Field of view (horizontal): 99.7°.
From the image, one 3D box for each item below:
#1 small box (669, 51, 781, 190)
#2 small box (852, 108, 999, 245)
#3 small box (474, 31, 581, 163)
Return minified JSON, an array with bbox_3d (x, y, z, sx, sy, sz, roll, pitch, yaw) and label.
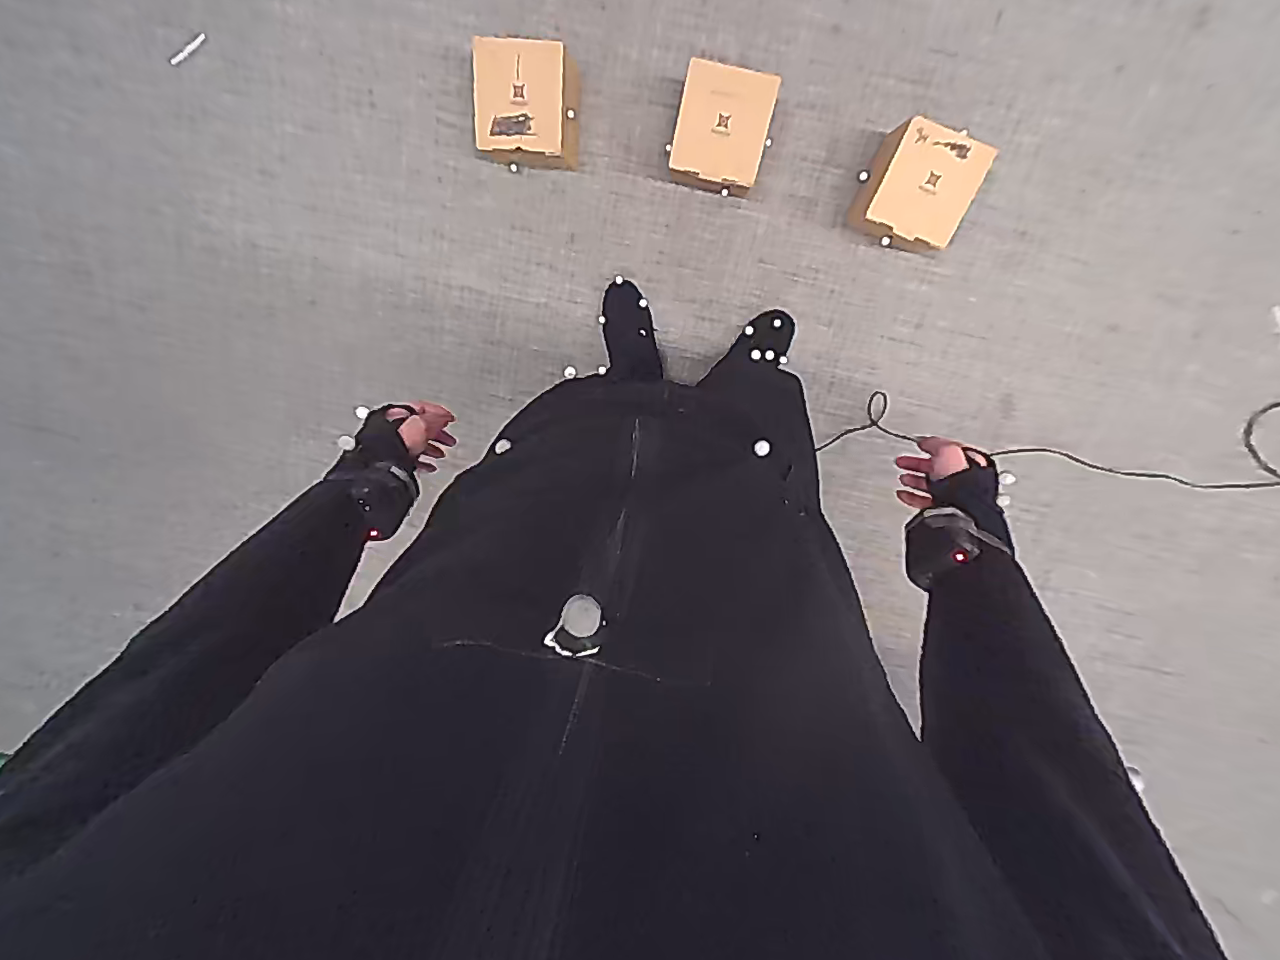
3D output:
[{"bbox_3d":[0.157,-0.676,1.040,0.168,0.176,0.179,12,111,-1],"label":"small box"},{"bbox_3d":[0.532,-0.571,1.044,0.168,0.176,0.179,22,113,-2],"label":"small box"},{"bbox_3d":[-0.210,-0.730,1.051,0.168,0.176,0.179,5,111,3],"label":"small box"}]
